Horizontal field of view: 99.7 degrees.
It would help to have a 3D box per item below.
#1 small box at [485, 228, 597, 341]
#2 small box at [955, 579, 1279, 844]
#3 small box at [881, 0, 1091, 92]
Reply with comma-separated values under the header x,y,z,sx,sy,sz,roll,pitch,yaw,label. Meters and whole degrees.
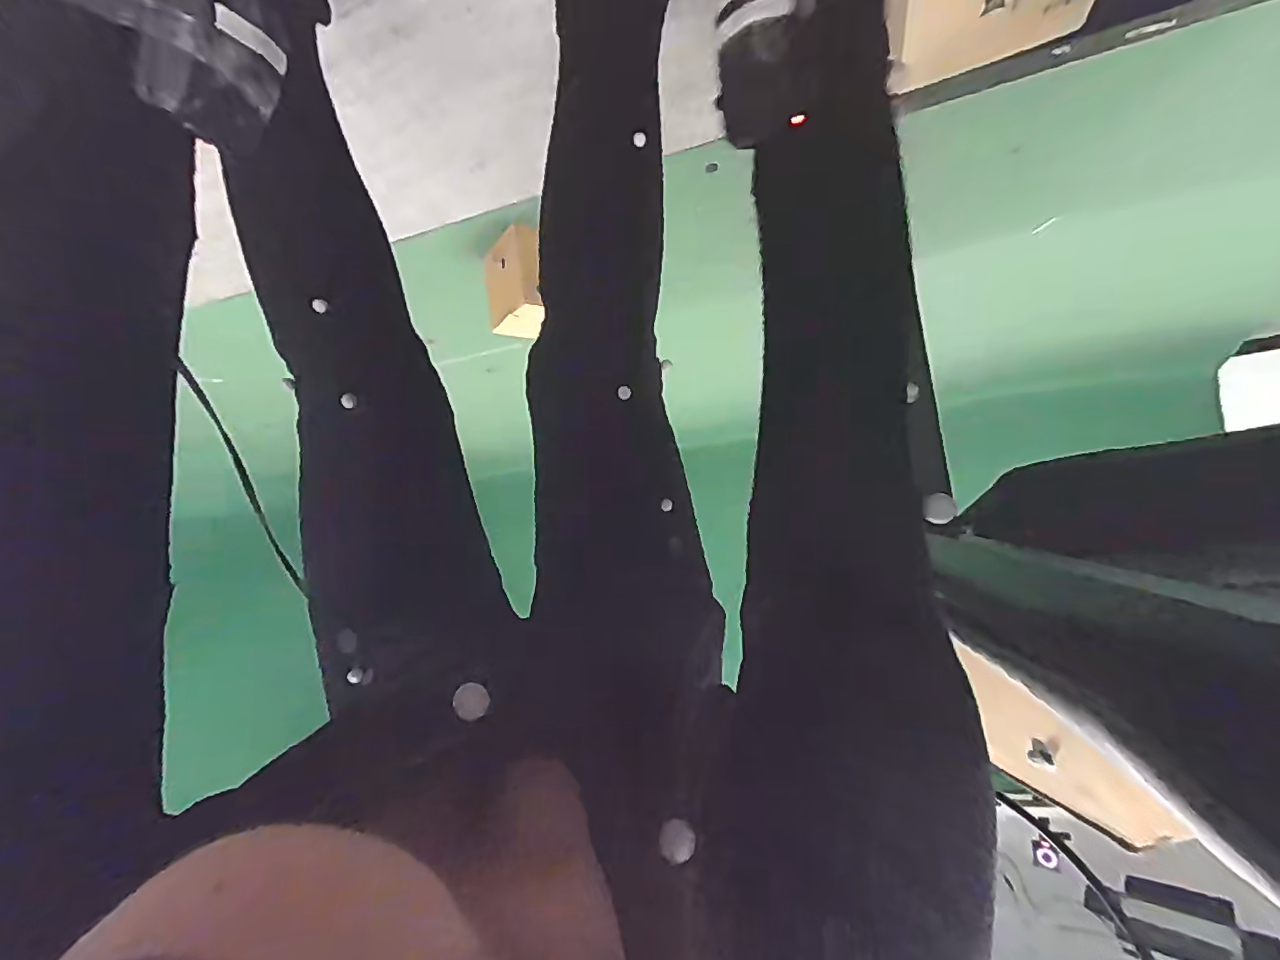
x,y,z,sx,sy,sz,roll,pitch,yaw,label
-0.215,-0.411,1.155,0.179,0.176,0.168,-3,174,-38,small box
0.436,0.194,0.512,0.168,0.176,0.179,-10,174,-5,small box
0.328,-0.532,0.512,0.179,0.176,0.168,-9,176,21,small box
